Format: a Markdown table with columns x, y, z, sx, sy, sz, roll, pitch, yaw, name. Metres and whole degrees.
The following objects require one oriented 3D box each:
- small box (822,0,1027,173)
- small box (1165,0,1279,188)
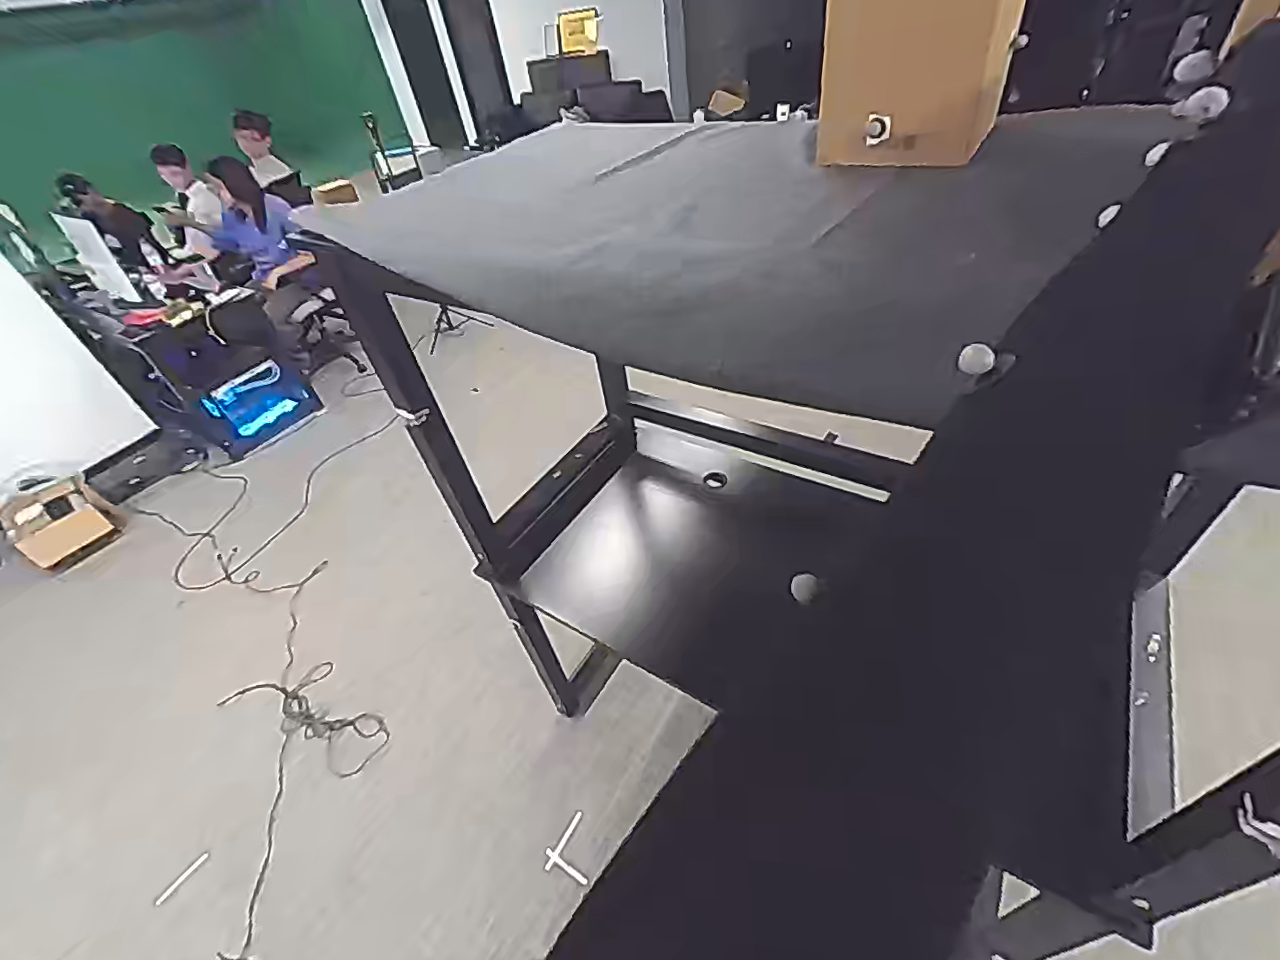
| x | y | z | sx | sy | sz | roll | pitch | yaw | name |
| --- | --- | --- | --- | --- | --- | --- | --- | --- | --- |
| 0.319 | -0.470 | 0.617 | 0.168 | 0.176 | 0.179 | 19 | 50 | 29 | small box |
| 0.568 | -0.341 | 0.428 | 0.168 | 0.176 | 0.179 | 25 | 54 | 33 | small box |
